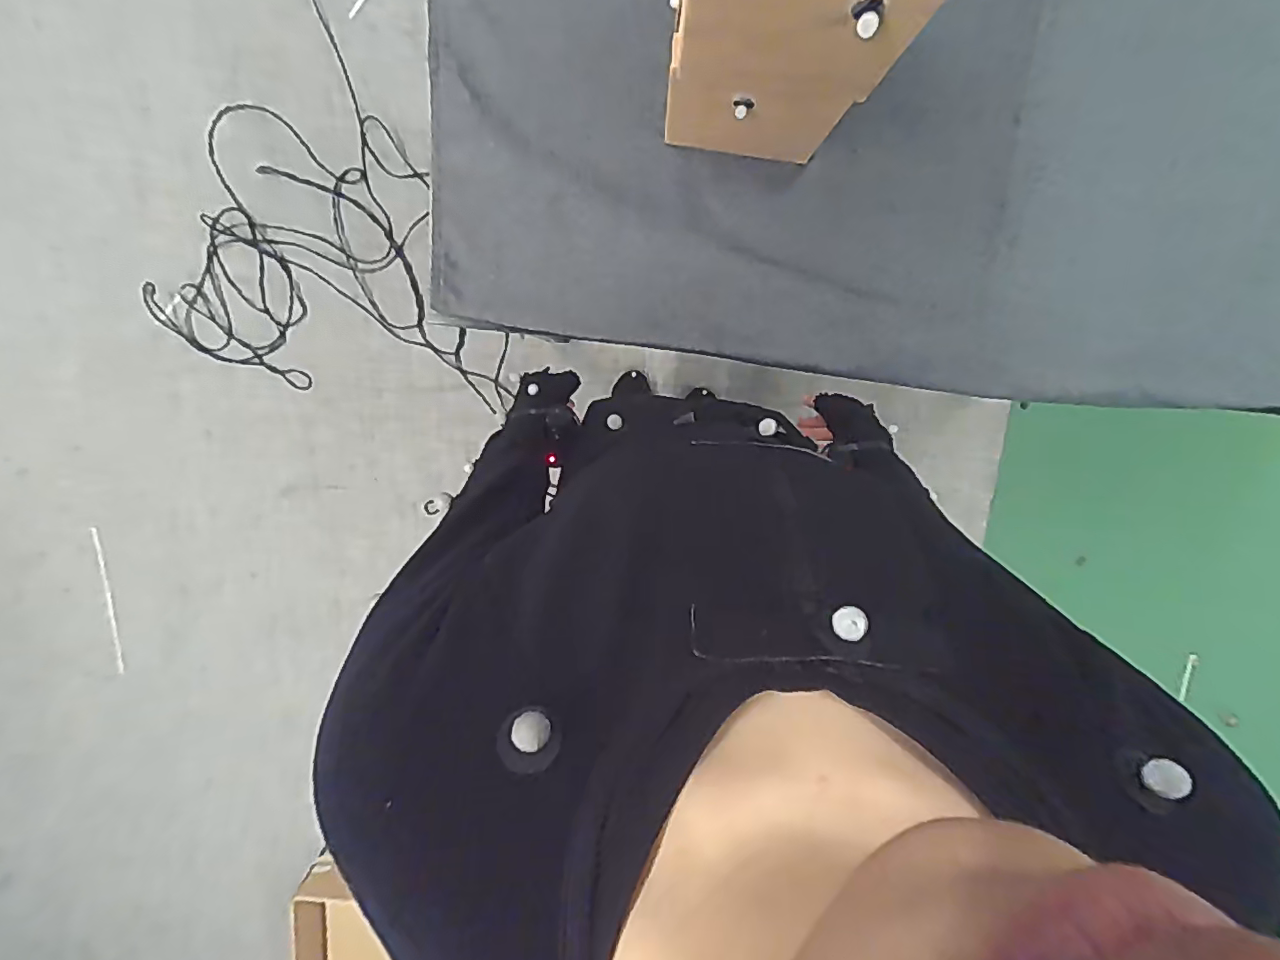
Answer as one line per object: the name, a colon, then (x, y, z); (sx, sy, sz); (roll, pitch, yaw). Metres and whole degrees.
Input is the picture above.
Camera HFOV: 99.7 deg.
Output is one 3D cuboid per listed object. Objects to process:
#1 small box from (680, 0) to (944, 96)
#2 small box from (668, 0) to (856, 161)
small box: (0.131, -0.426, 0.409); (0.179, 0.176, 0.168); (6, 100, -1)
small box: (0.127, -0.463, 0.570); (0.179, 0.176, 0.168); (8, 101, -2)
